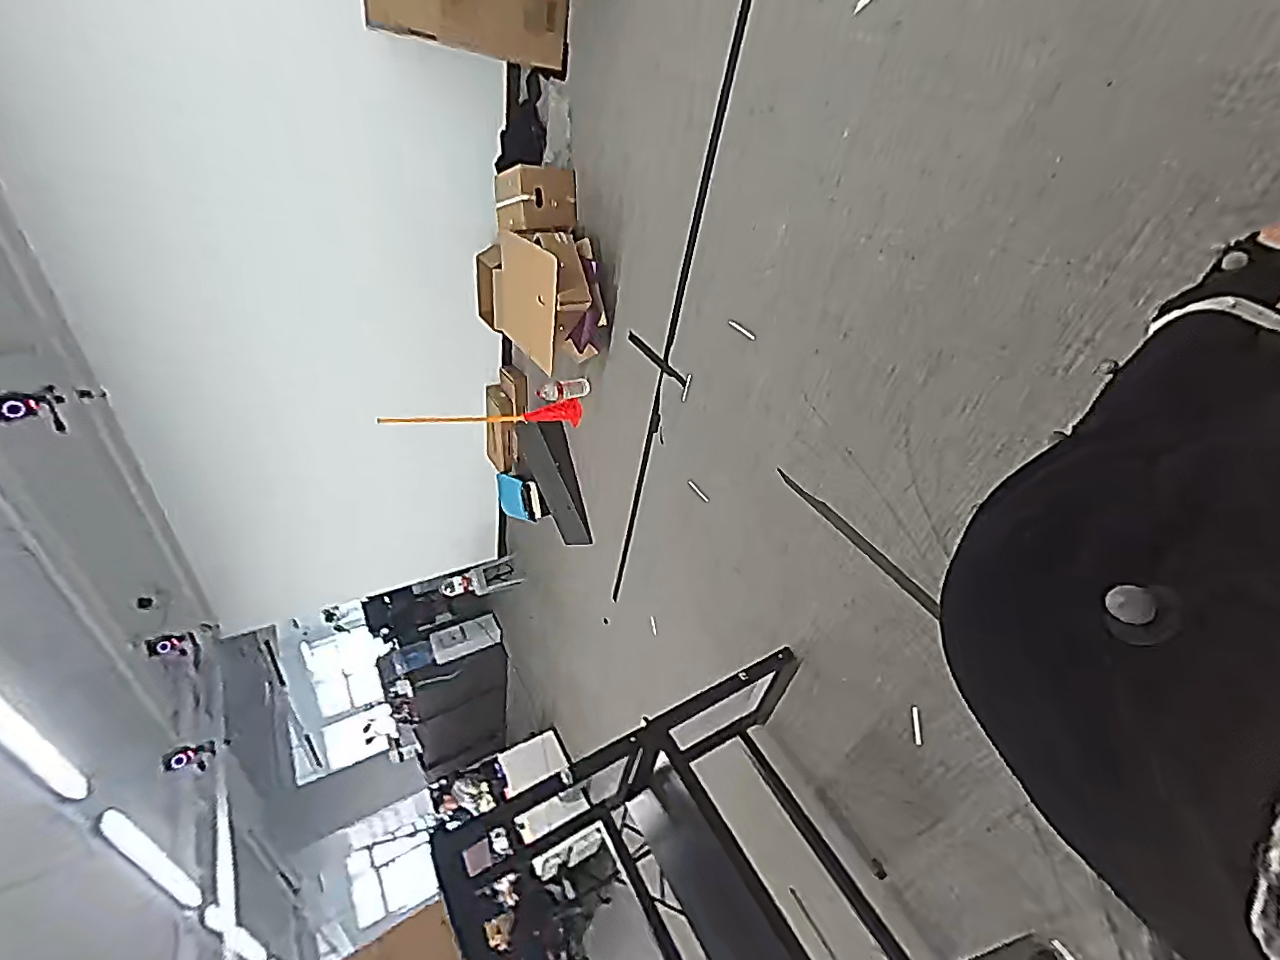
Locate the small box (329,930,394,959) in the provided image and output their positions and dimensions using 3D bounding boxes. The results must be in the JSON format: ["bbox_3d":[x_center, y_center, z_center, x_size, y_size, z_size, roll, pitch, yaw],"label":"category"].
[{"bbox_3d":[-0.711,1.294,1.372,0.168,0.176,0.179,51,143,34],"label":"small box"}]
